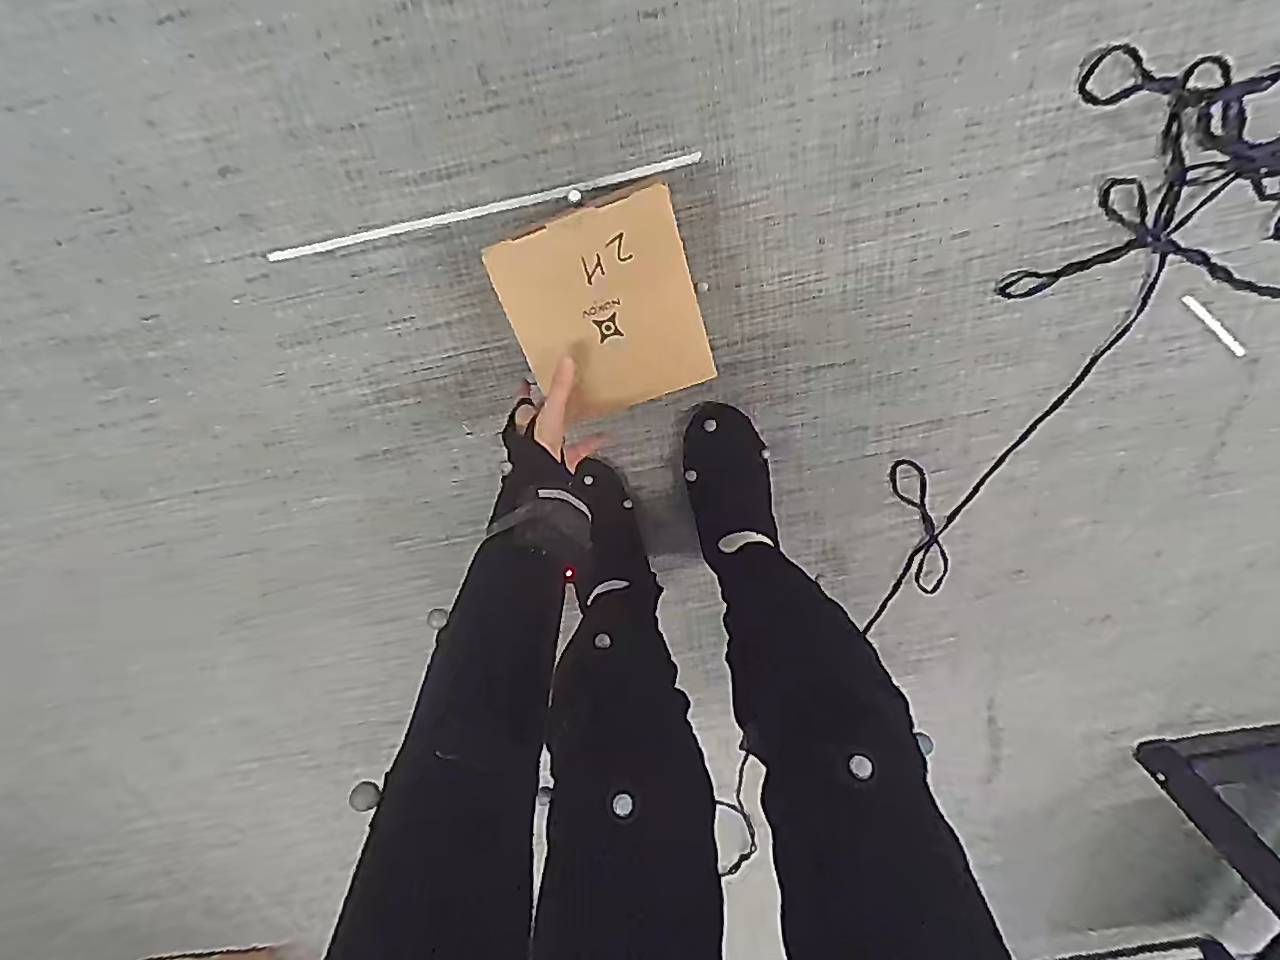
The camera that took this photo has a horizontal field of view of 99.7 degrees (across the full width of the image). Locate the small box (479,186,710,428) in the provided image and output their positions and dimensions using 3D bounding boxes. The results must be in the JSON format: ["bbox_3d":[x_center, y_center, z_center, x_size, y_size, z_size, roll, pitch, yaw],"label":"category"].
[{"bbox_3d":[-0.036,-0.182,0.554,0.168,0.176,0.179,-17,118,7],"label":"small box"}]
